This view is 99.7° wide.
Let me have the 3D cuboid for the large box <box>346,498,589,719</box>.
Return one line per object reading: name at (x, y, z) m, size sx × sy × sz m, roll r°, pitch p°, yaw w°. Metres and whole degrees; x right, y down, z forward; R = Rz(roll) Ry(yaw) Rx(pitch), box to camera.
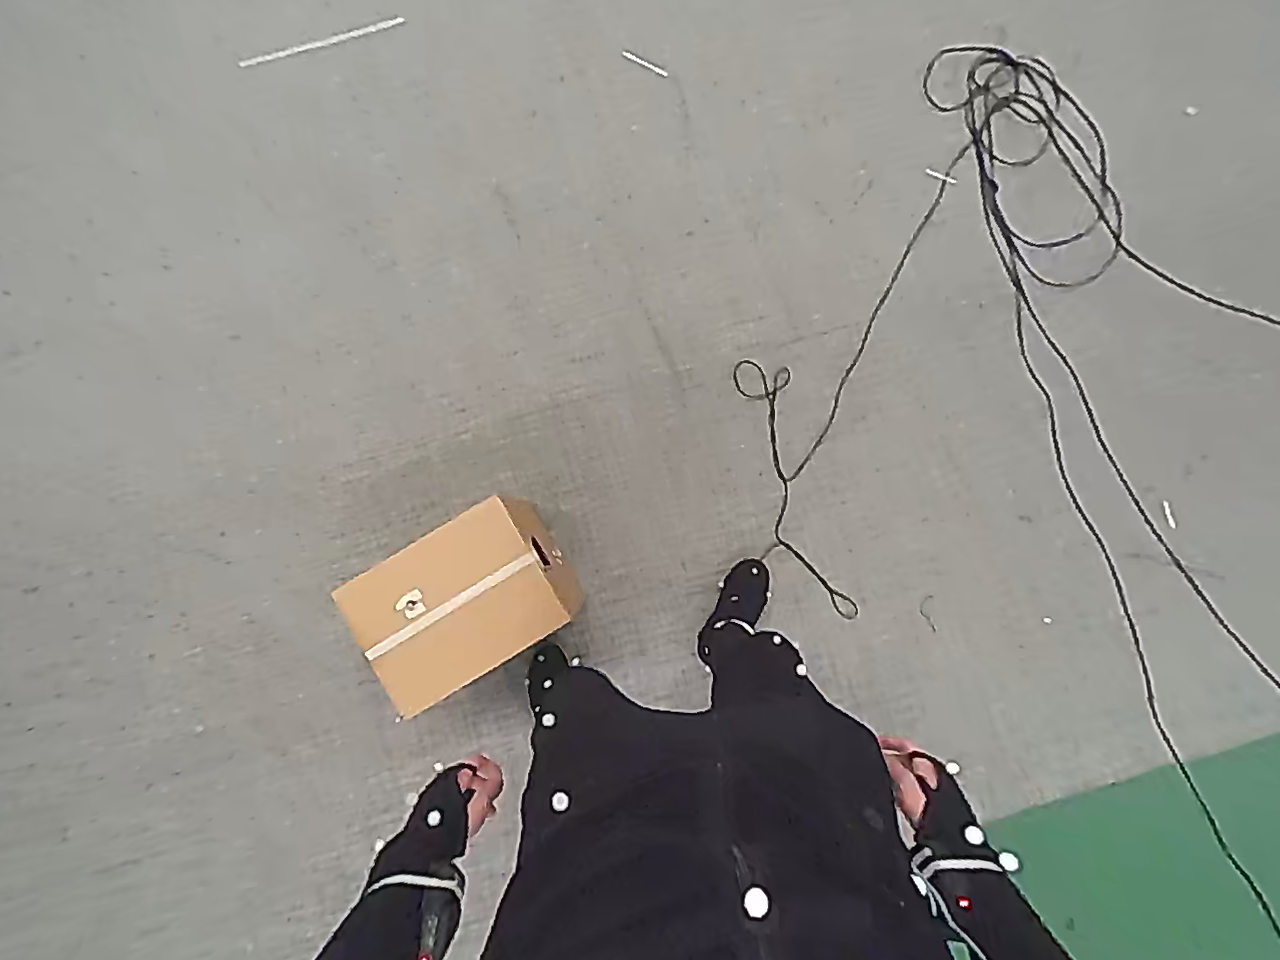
large box at (-0.379, 0.276, 1.291) m, size 0.408 × 0.320 × 0.320 m, roll -32°, pitch 86°, yaw -1°
